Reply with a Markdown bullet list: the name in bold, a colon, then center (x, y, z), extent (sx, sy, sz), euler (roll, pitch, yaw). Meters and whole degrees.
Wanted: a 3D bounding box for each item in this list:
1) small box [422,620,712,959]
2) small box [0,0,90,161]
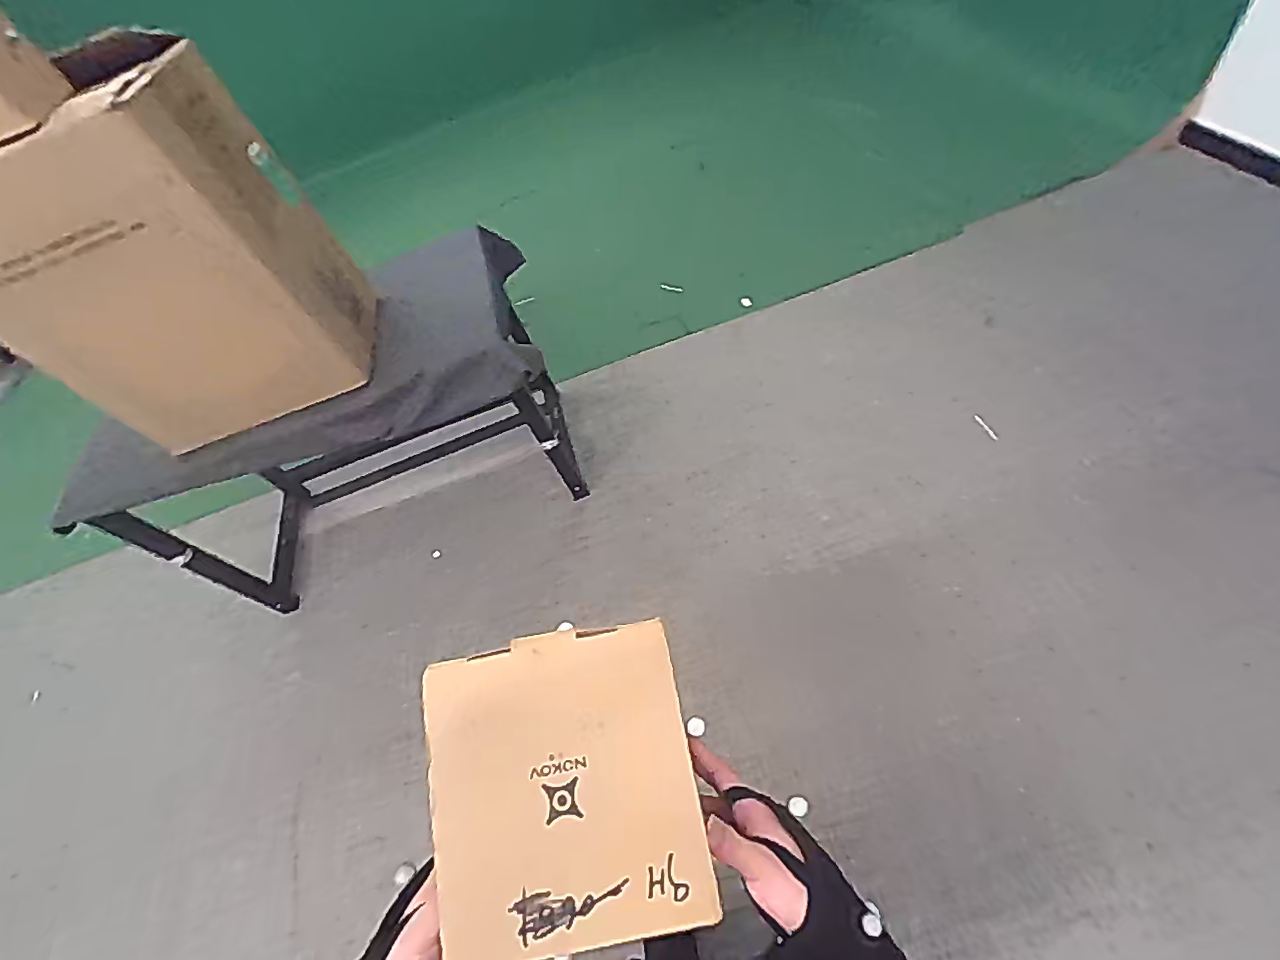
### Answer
- **small box**: center (-0.049, 0.217, 0.415), extent (0.168, 0.176, 0.179), euler (-12, 71, 0)
- **small box**: center (-1.042, -0.630, 0.852), extent (0.168, 0.176, 0.179), euler (-20, 54, 4)
